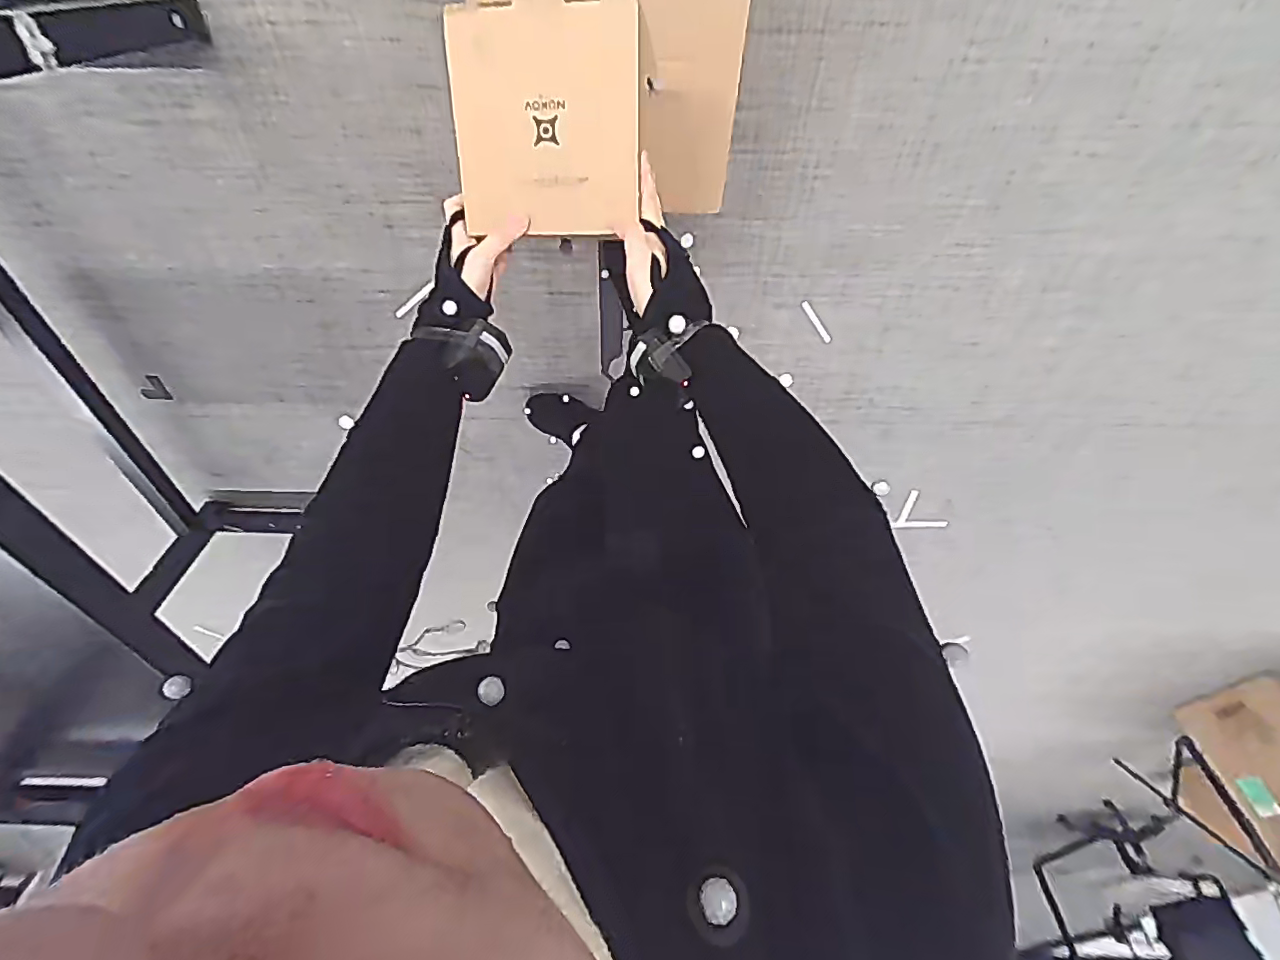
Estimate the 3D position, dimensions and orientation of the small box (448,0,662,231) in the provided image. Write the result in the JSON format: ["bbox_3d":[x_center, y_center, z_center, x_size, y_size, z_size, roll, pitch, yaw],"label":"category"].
[{"bbox_3d":[-0.068,-0.345,0.532,0.168,0.176,0.179,3,114,6],"label":"small box"}]
